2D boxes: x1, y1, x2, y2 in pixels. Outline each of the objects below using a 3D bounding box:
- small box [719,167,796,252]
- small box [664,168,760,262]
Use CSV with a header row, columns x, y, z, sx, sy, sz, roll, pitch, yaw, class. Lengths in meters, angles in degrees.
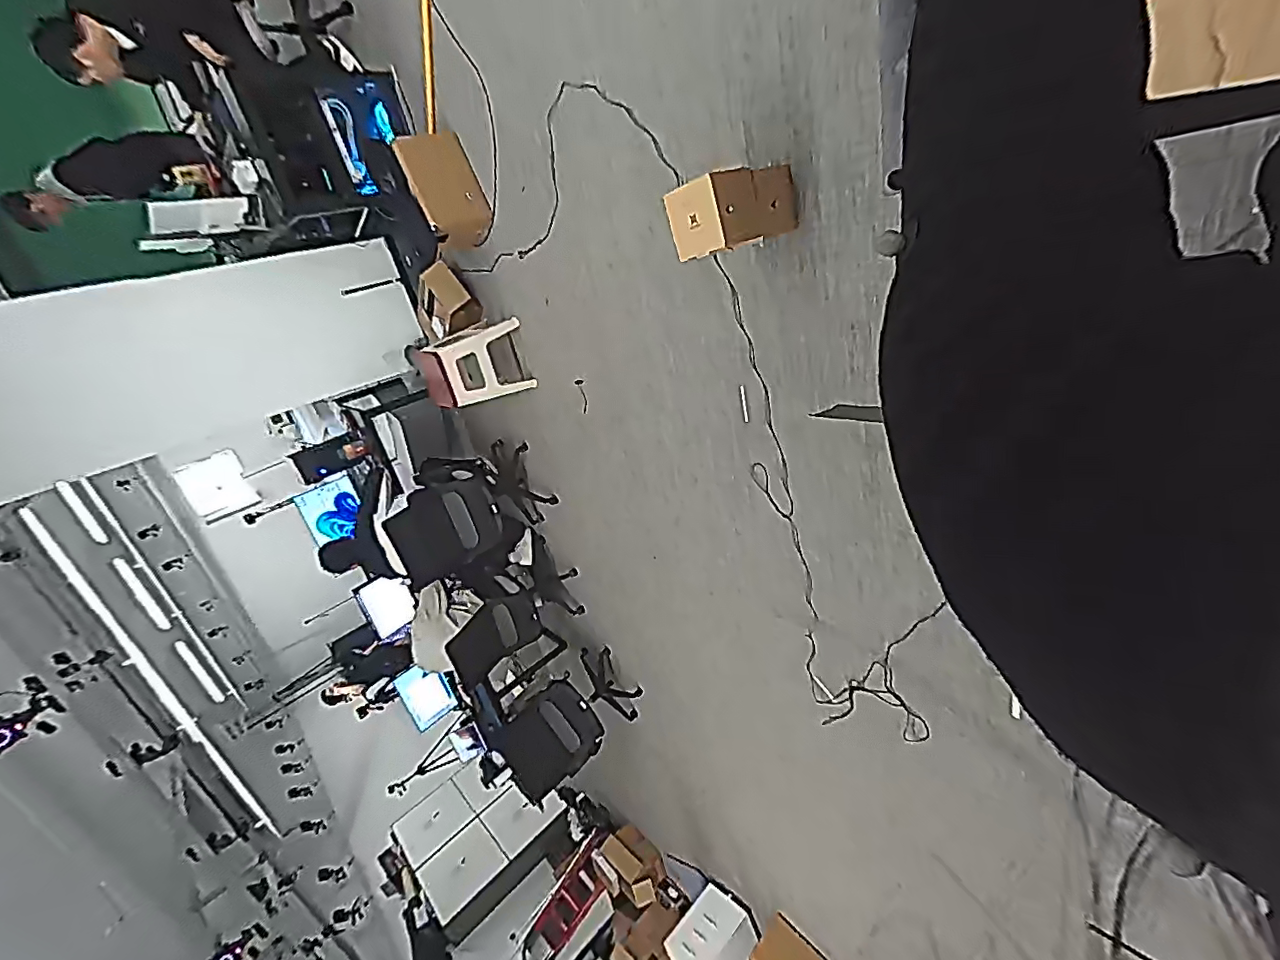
x,y,z,sx,sy,sz,roll,pitch,yaw,class
0.314,-0.761,1.519,0.168,0.176,0.179,10,123,49,small box
0.196,-0.698,1.427,0.168,0.176,0.179,5,118,49,small box
